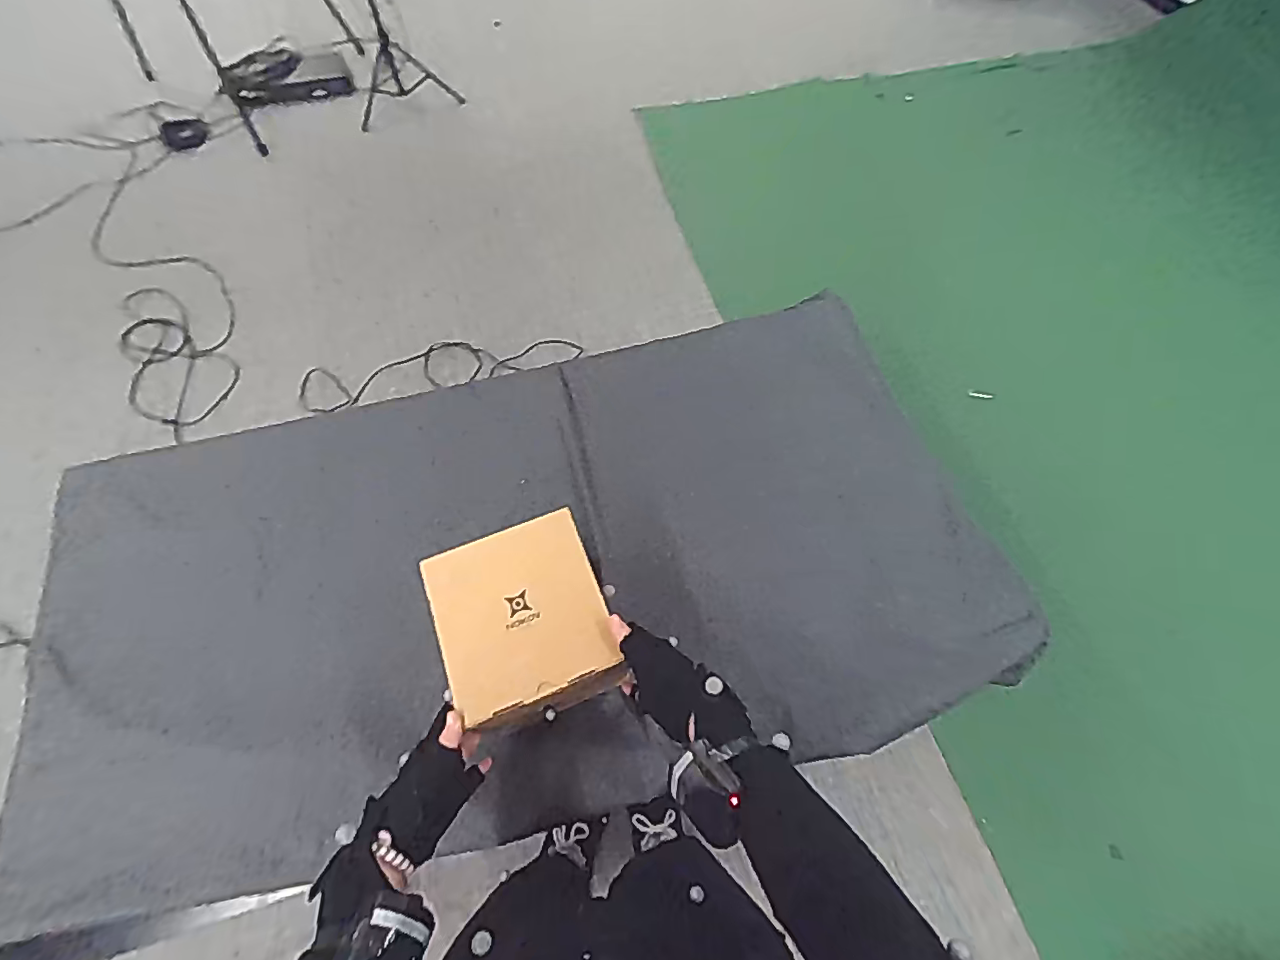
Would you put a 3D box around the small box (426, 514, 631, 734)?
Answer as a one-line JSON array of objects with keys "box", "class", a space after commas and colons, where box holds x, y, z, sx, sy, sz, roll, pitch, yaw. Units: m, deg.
[{"box": [-0.120, 0.169, 0.614, 0.168, 0.176, 0.179, -21, 66, -11], "class": "small box"}]
